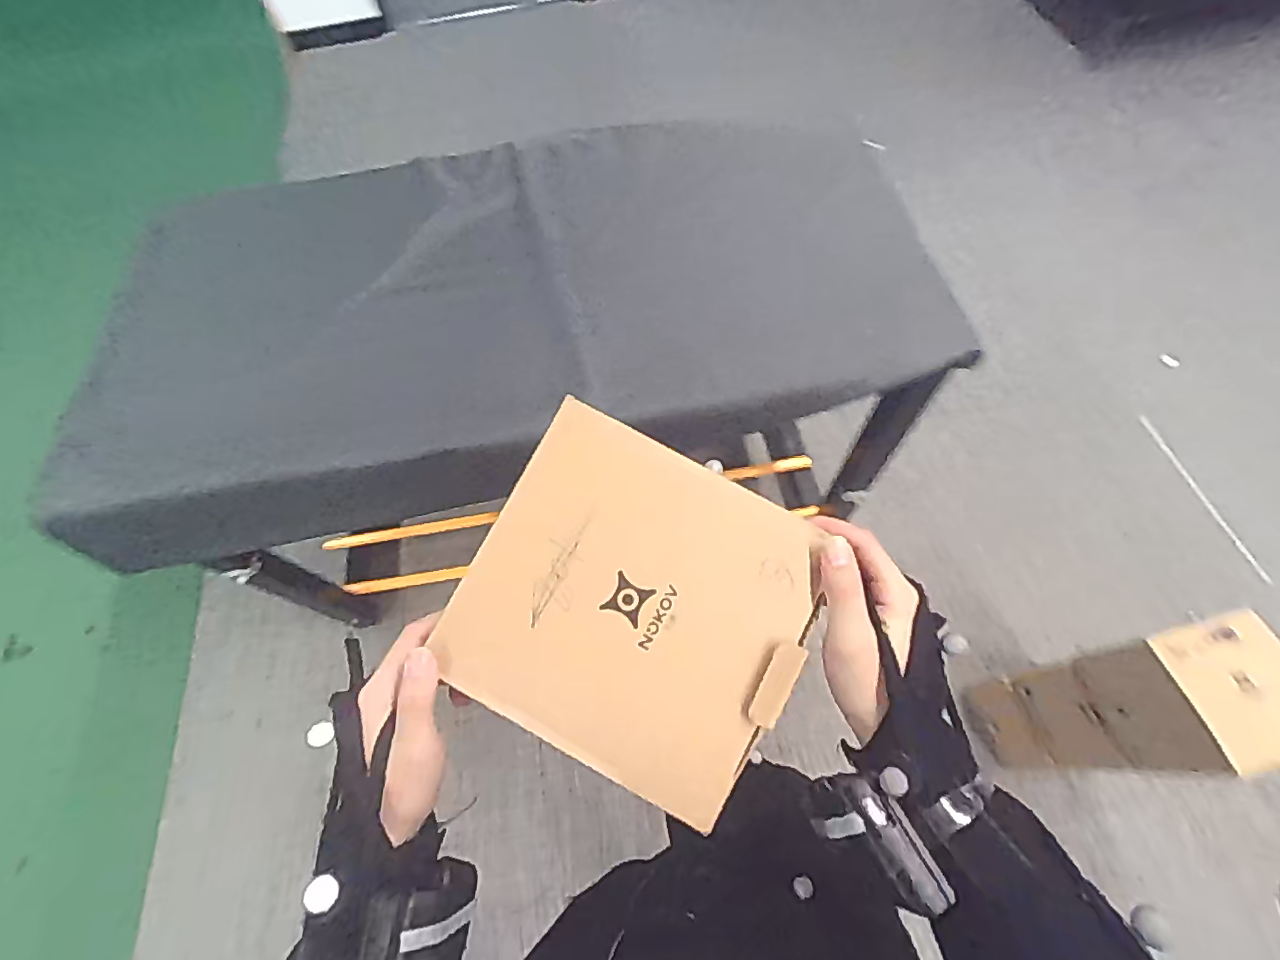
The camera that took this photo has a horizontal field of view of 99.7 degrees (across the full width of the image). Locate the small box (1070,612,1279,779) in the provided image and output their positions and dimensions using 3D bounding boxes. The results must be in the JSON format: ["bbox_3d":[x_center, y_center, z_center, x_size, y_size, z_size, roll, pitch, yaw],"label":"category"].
[{"bbox_3d":[0.791,0.311,0.780,0.168,0.176,0.179,-14,63,-4],"label":"small box"}]

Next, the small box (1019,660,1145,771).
[{"bbox_3d":[0.796,0.388,0.924,0.179,0.176,0.168,-14,63,-5],"label":"small box"}]

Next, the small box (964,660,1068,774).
[{"bbox_3d":[0.794,0.466,1.069,0.179,0.176,0.168,-16,62,-4],"label":"small box"}]
